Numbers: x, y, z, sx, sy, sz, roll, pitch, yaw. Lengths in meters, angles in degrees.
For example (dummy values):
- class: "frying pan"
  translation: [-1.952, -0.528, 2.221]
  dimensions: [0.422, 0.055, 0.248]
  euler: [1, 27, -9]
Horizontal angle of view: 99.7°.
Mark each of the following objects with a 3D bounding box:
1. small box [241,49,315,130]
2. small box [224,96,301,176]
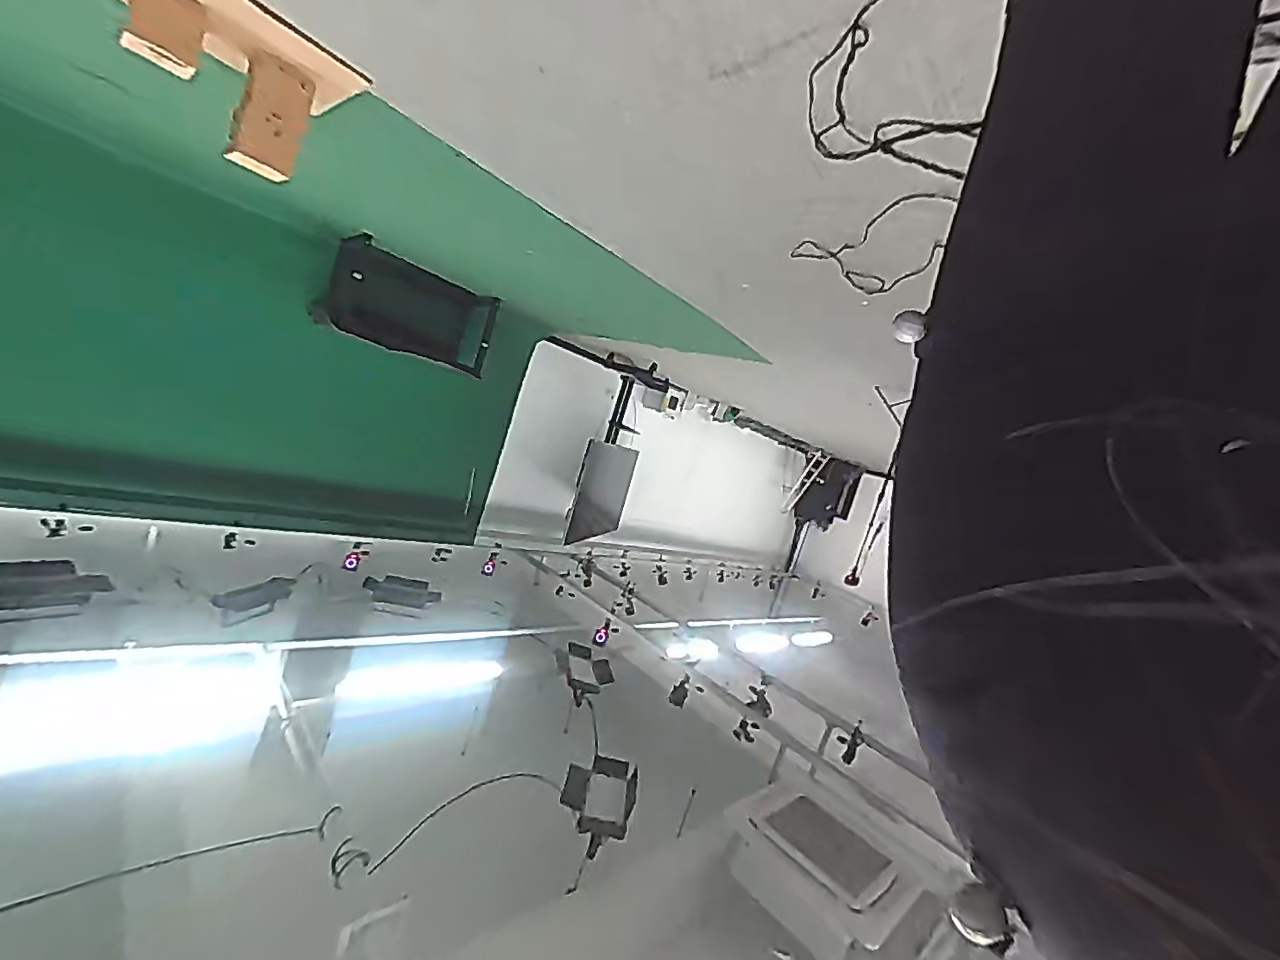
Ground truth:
- class: "small box"
  translation: [-1.247, -1.340, 1.863]
  dimensions: [0.179, 0.176, 0.168]
  euler: [23, -173, 40]
- class: "small box"
  translation: [-1.310, -1.191, 1.880]
  dimensions: [0.179, 0.176, 0.168]
  euler: [22, -175, 39]
